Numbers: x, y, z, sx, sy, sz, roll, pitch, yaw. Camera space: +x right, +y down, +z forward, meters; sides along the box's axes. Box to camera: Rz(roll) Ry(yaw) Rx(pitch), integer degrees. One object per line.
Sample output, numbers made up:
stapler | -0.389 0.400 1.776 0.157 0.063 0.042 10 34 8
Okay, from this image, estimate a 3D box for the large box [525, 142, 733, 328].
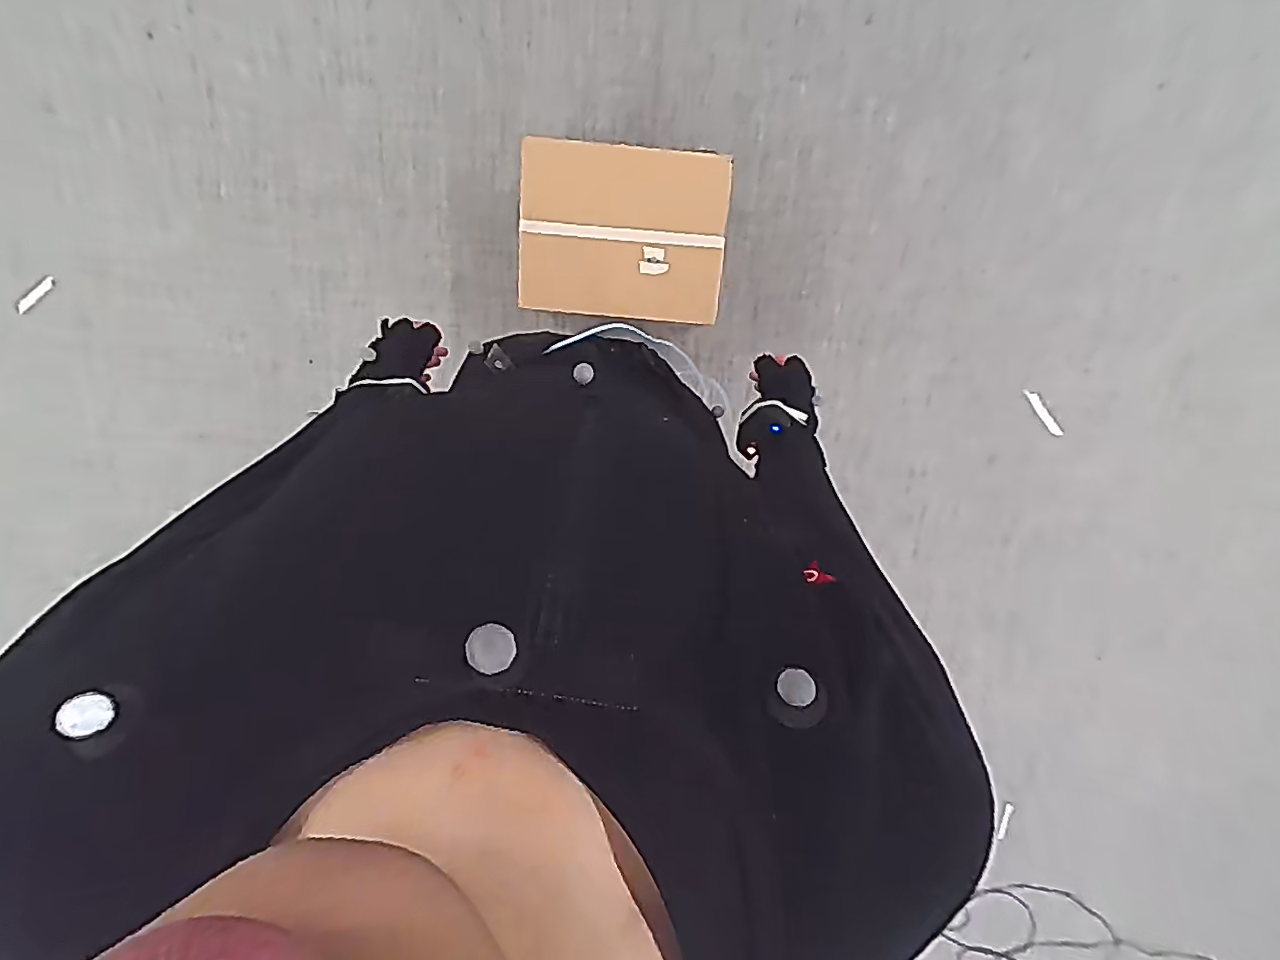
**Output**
large box | -0.032 -0.520 1.217 0.408 0.320 0.320 5 105 -2
